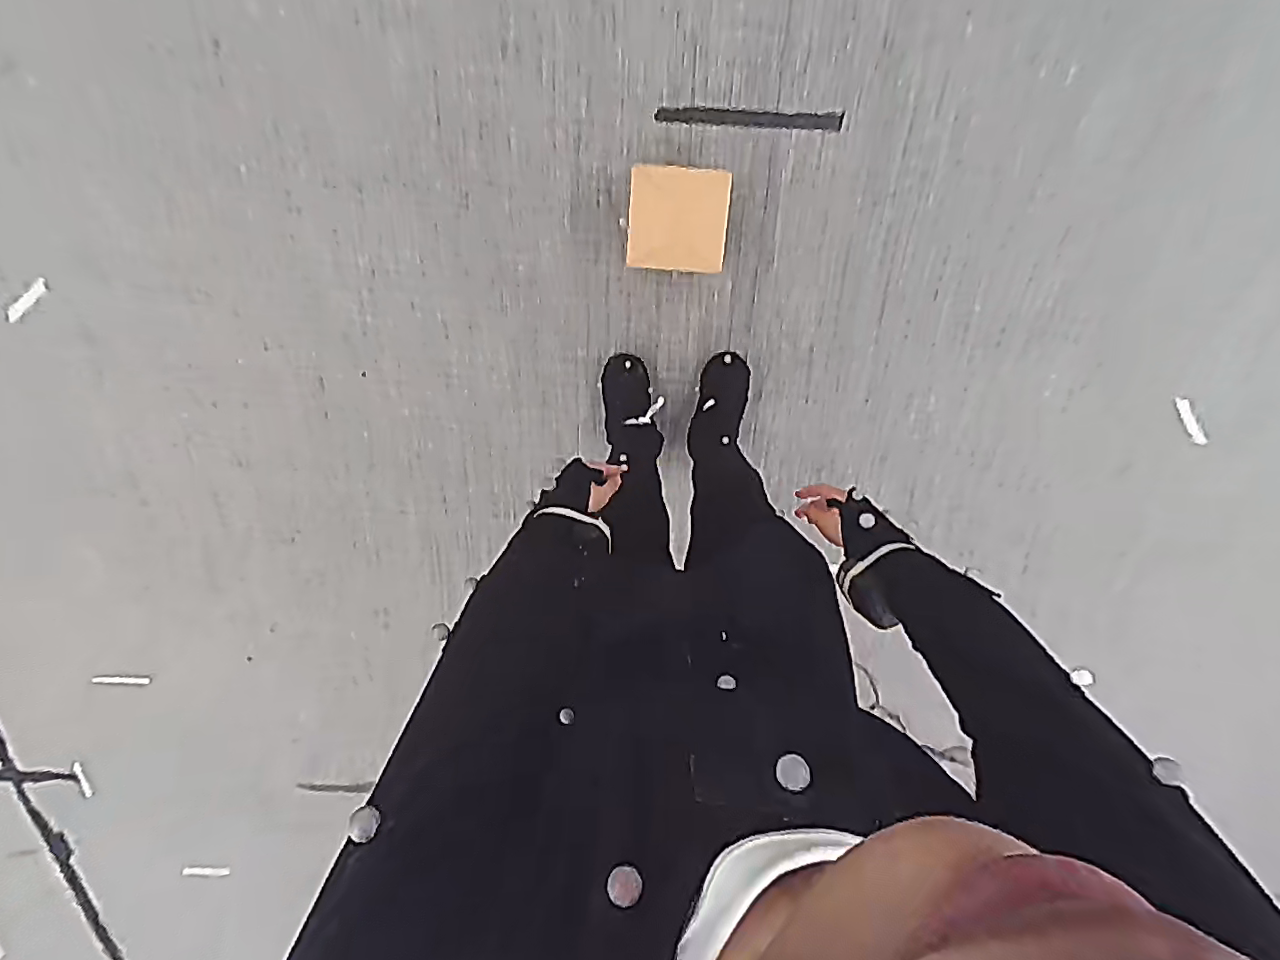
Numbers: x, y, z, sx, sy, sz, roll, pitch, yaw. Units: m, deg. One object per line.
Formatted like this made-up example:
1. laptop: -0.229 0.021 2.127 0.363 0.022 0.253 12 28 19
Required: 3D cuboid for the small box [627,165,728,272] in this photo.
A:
1. small box: 0.067 -0.490 1.028 0.179 0.176 0.168 3 112 -3
